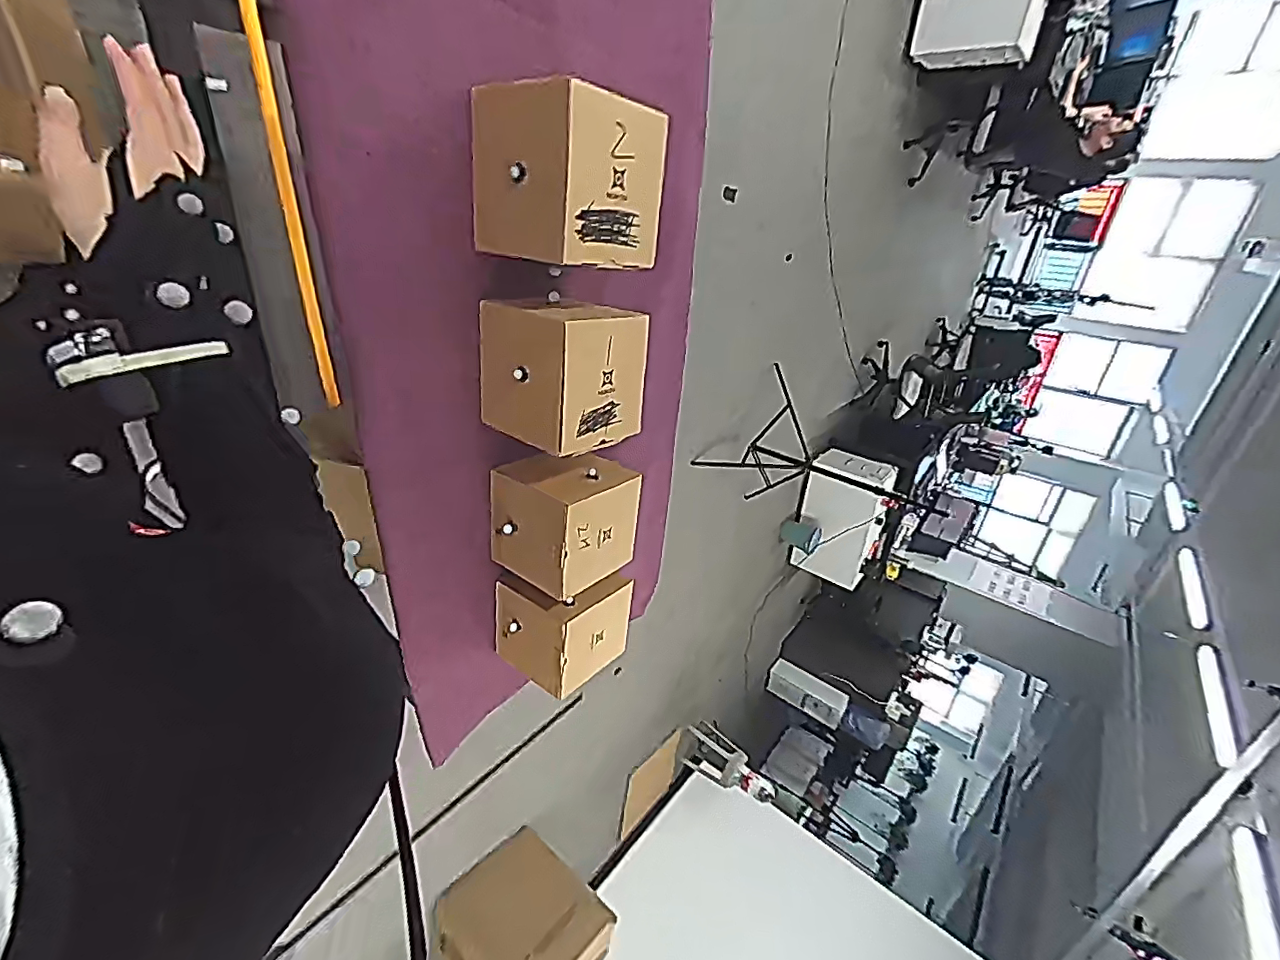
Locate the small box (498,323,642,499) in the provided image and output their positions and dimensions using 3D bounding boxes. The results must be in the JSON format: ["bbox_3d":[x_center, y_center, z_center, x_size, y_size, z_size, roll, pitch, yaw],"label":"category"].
[{"bbox_3d":[-0.101,-0.102,0.790,0.168,0.176,0.179,-14,127,-2],"label":"small box"}]

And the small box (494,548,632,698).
[{"bbox_3d":[-0.140,0.245,0.976,0.179,0.176,0.168,-22,127,-49],"label":"small box"}]
